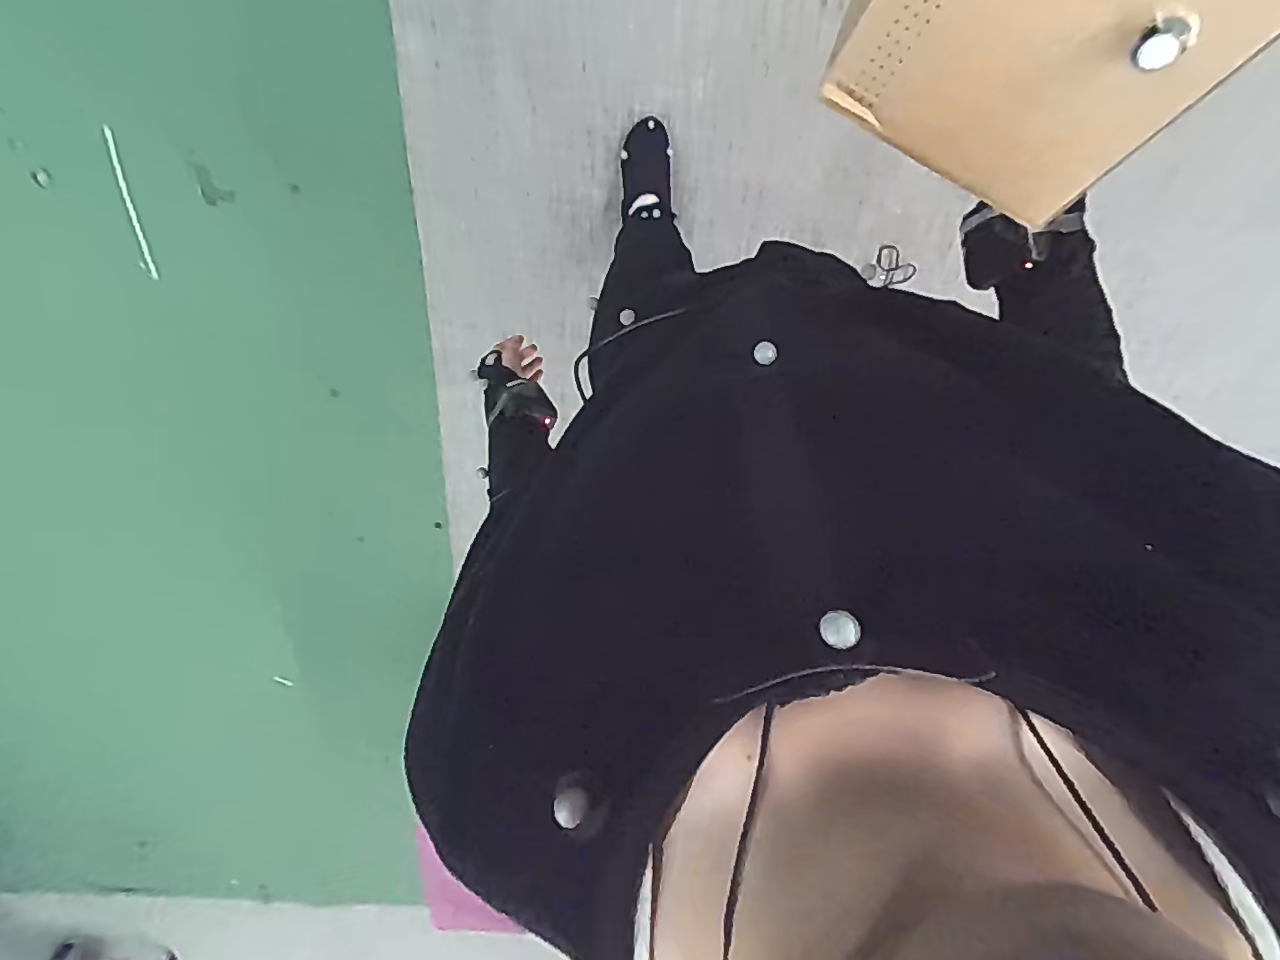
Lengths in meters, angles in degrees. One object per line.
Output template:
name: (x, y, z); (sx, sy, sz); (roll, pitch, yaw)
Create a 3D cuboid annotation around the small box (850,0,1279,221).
small box: (0.231, -0.288, 0.280); (0.176, 0.168, 0.179); (26, 156, -5)
